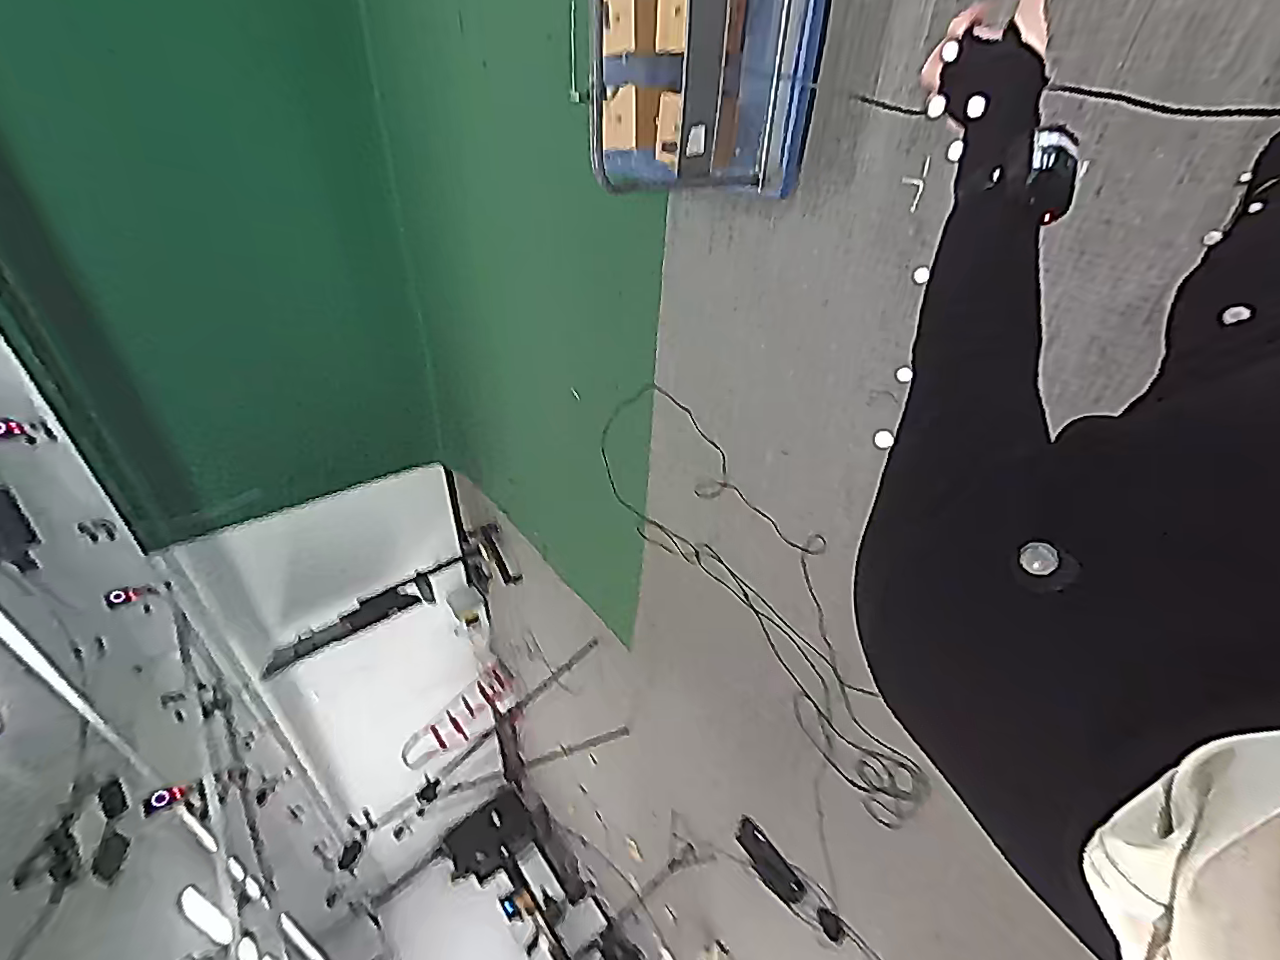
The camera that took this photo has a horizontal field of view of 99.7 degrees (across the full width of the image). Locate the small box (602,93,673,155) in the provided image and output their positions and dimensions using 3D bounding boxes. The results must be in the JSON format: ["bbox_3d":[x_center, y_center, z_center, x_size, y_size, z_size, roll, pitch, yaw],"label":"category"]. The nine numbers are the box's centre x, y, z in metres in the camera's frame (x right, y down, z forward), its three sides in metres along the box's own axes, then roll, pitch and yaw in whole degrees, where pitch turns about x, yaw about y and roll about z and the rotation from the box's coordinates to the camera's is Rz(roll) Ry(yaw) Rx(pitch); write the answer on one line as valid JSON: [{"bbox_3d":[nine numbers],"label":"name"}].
[{"bbox_3d":[-0.008,-1.178,1.792,0.179,0.176,0.168,31,133,41],"label":"small box"}]

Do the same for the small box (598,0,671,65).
[{"bbox_3d":[-0.010,-1.394,1.663,0.179,0.176,0.168,31,133,40],"label":"small box"}]

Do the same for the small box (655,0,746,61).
[{"bbox_3d":[0.165,-1.273,1.496,0.179,0.176,0.168,35,135,37],"label":"small box"}]
